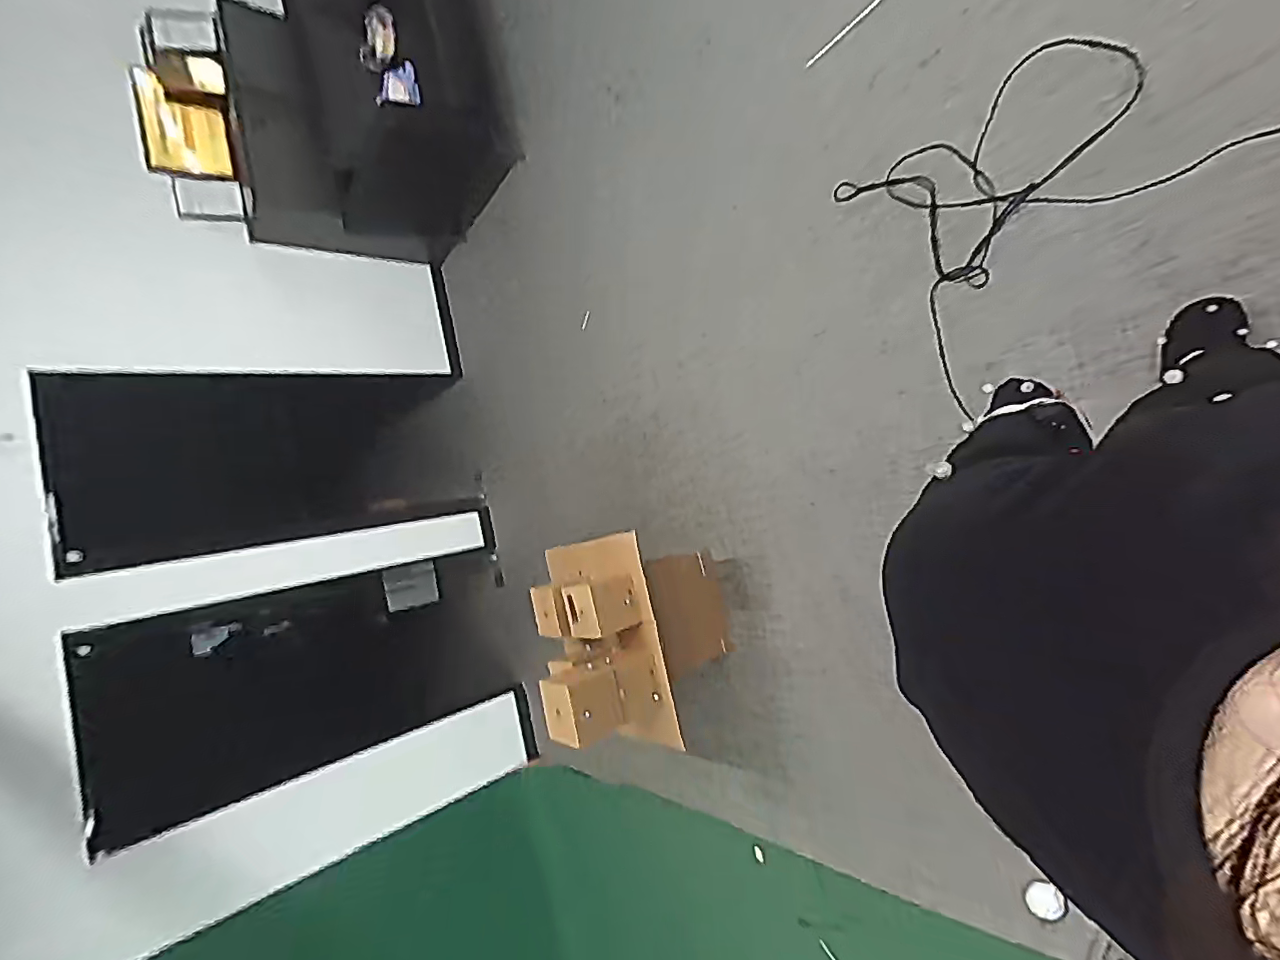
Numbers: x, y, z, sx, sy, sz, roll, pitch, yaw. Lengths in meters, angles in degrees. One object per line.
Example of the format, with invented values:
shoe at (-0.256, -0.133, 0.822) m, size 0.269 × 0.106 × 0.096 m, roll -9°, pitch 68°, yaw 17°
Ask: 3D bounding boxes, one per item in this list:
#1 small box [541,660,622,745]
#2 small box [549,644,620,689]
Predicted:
small box at (-0.171, 0.656, 1.614) m, size 0.168 × 0.176 × 0.179 m, roll -14°, pitch 85°, yaw 49°
small box at (-0.194, 0.686, 1.901) m, size 0.179 × 0.176 × 0.168 m, roll -20°, pitch 82°, yaw 51°
